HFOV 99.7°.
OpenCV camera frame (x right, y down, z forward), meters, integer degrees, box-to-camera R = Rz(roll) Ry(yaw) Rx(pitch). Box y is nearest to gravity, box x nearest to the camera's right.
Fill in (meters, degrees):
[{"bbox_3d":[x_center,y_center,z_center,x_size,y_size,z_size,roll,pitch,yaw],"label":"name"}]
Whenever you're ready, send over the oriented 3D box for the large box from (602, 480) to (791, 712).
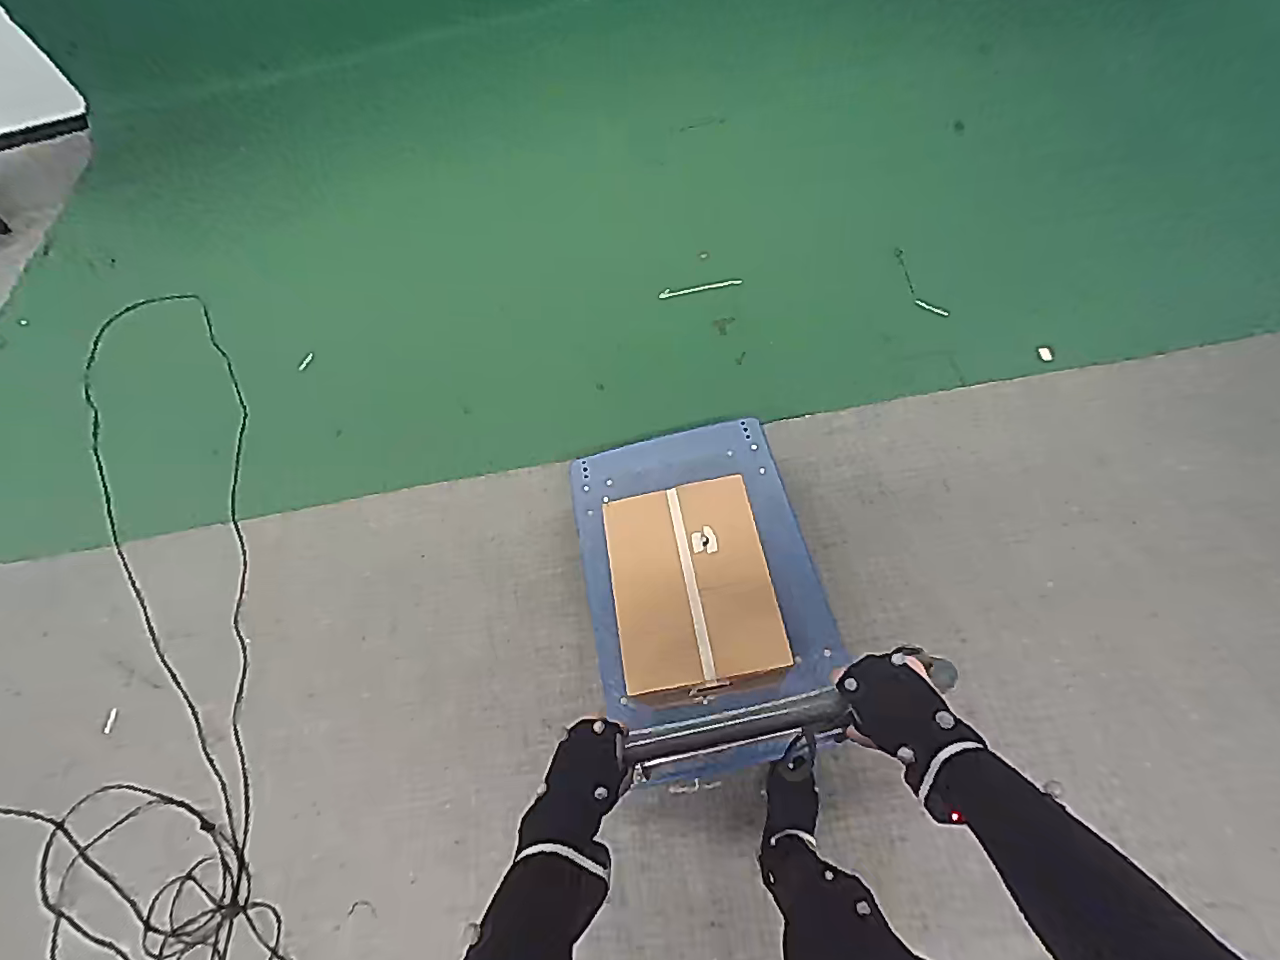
[{"bbox_3d":[0.122,0.270,1.219,0.320,0.320,0.408,-12,61,3],"label":"large box"}]
